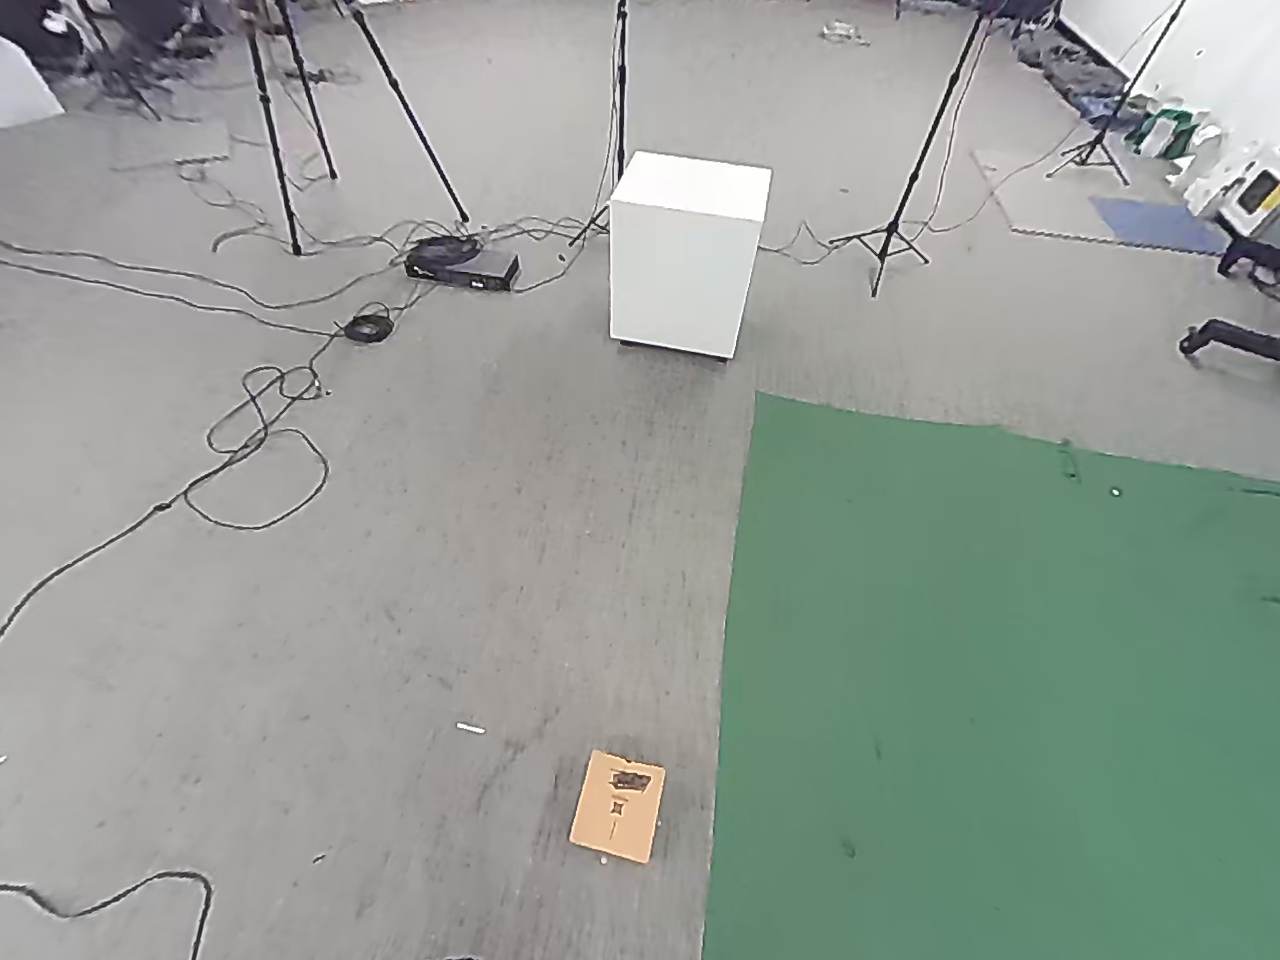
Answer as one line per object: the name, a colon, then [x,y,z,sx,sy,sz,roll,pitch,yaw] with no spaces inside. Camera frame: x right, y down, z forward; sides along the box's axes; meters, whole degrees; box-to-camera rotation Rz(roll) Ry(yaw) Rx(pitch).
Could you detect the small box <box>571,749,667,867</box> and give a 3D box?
small box: [-0.045,0.714,1.175,0.168,0.176,0.179,12,53,6]
